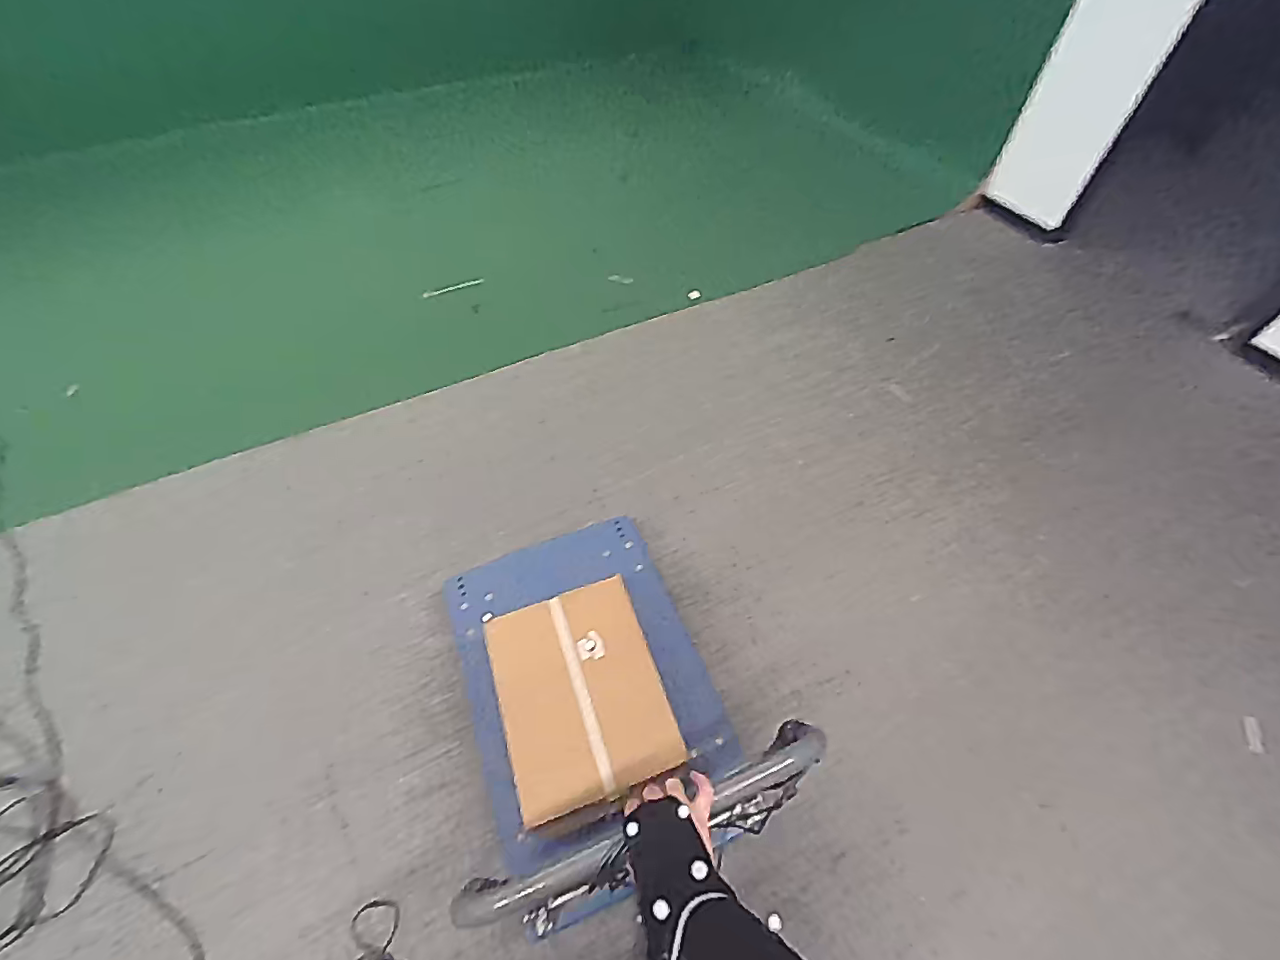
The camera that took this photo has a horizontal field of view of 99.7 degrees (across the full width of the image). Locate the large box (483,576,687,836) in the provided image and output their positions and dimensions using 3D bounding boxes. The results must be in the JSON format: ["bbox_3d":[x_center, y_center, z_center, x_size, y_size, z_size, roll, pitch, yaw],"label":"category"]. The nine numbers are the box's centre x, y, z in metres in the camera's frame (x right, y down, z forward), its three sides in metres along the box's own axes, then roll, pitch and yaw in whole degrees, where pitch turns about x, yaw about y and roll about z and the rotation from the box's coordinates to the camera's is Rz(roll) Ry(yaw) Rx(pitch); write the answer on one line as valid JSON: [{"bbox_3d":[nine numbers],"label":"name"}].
[{"bbox_3d":[-0.119,0.494,1.188,0.320,0.320,0.408,-16,55,-12],"label":"large box"}]
